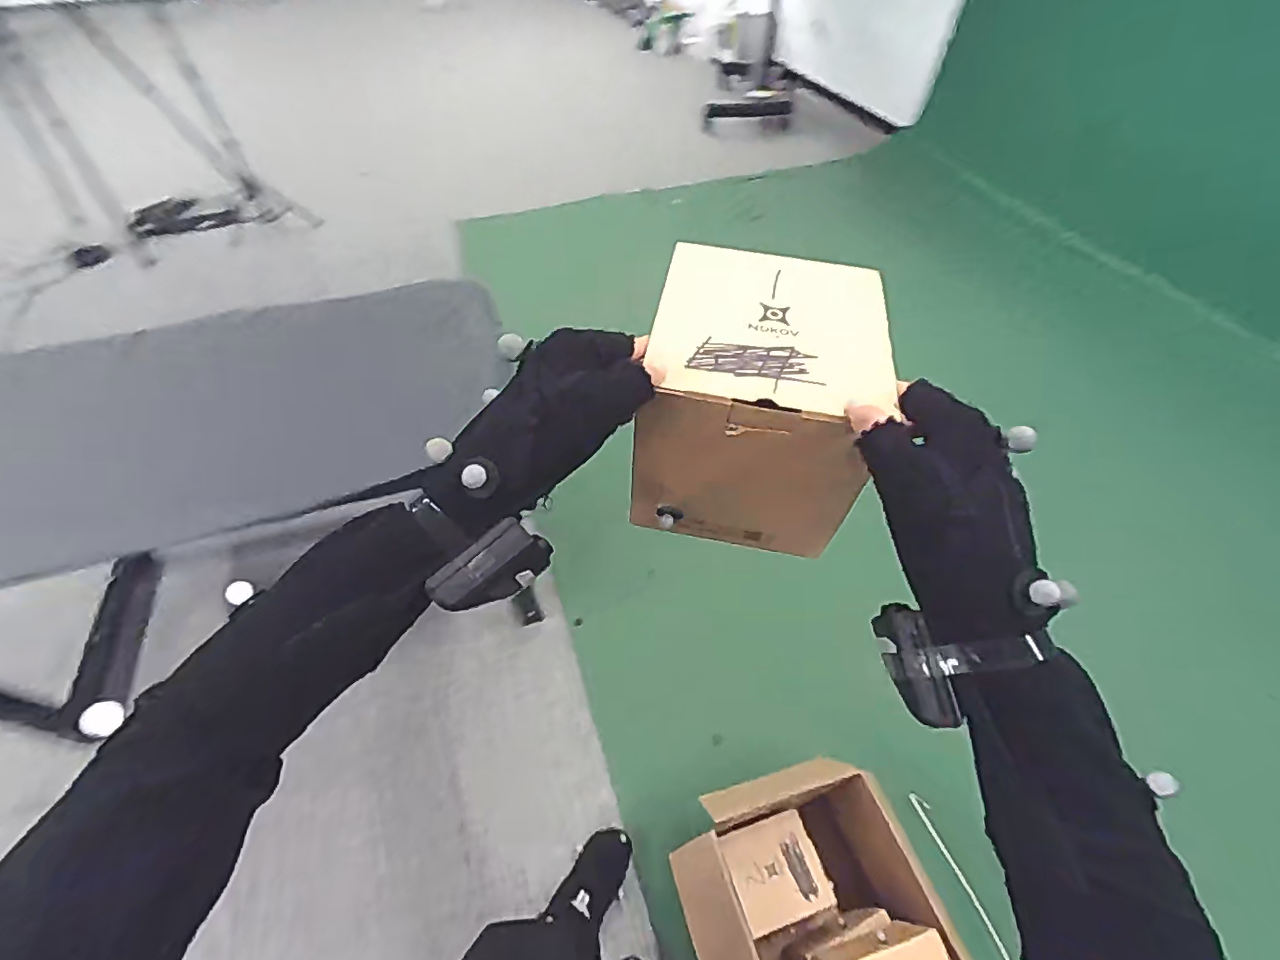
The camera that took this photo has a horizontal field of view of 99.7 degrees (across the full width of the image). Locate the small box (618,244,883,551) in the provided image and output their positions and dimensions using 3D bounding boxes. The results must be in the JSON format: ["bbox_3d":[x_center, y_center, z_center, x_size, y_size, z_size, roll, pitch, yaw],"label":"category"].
[{"bbox_3d":[0.079,-0.063,0.444,0.168,0.176,0.179,9,52,4],"label":"small box"}]
